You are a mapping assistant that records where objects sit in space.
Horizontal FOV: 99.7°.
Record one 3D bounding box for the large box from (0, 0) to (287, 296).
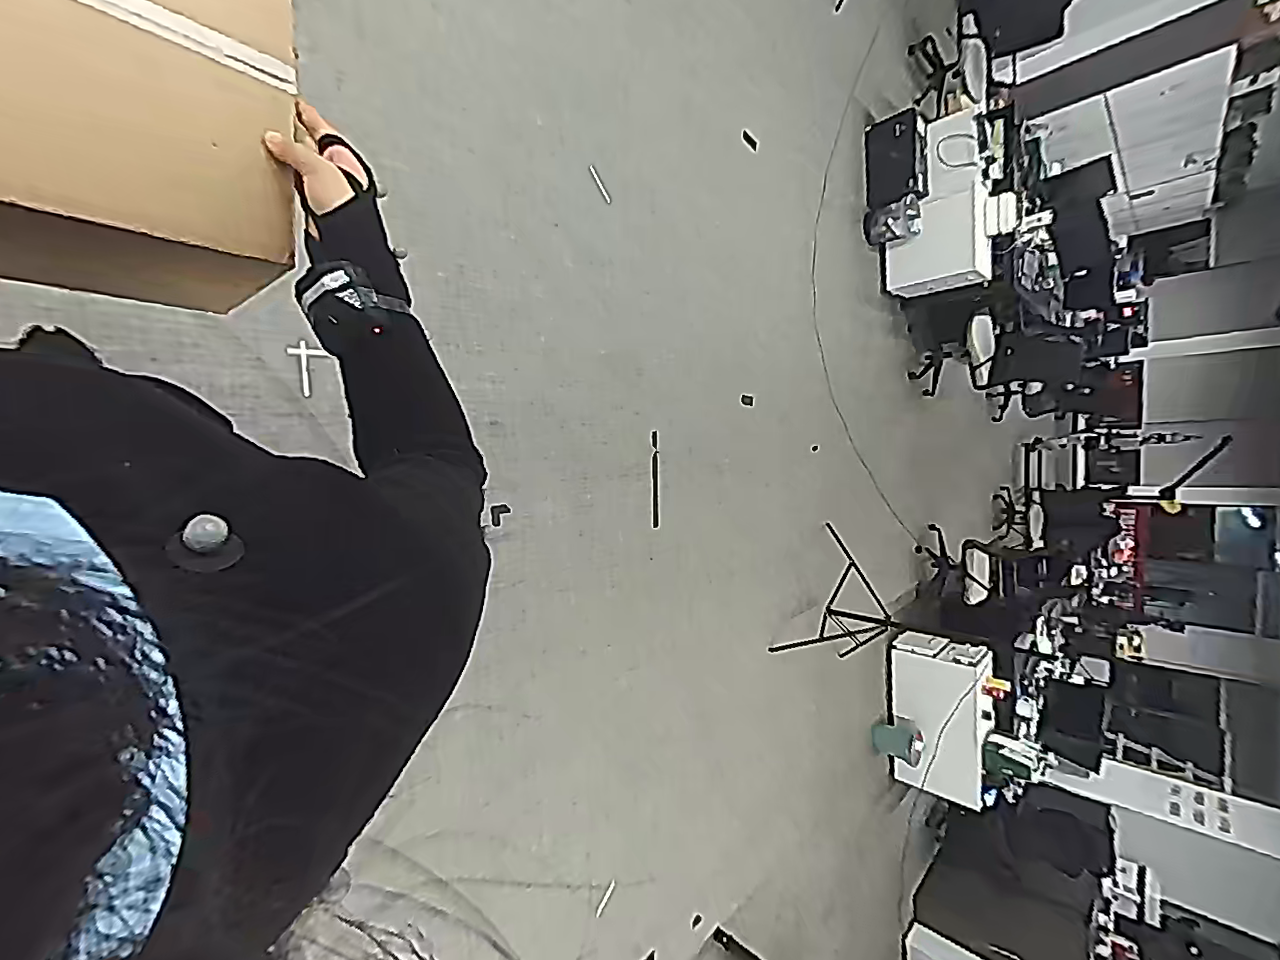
[{"bbox_3d":[-0.561,-0.359,0.437,0.408,0.320,0.320,-3,96,-47],"label":"large box"}]
